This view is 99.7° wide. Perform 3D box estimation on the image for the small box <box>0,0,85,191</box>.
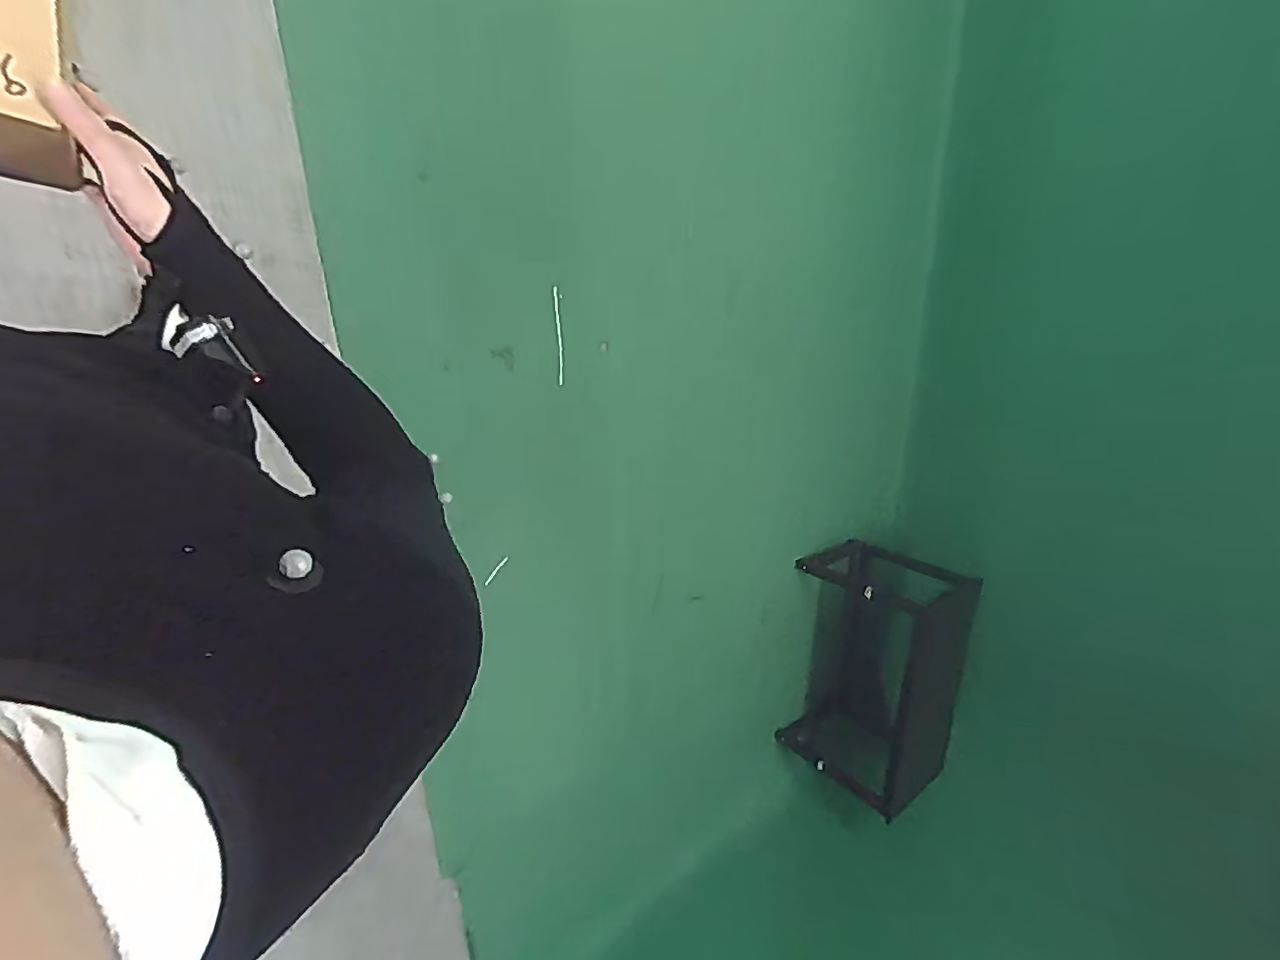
[{"bbox_3d":[-0.515,-0.335,0.380,0.168,0.176,0.179,-3,101,-43],"label":"small box"}]
